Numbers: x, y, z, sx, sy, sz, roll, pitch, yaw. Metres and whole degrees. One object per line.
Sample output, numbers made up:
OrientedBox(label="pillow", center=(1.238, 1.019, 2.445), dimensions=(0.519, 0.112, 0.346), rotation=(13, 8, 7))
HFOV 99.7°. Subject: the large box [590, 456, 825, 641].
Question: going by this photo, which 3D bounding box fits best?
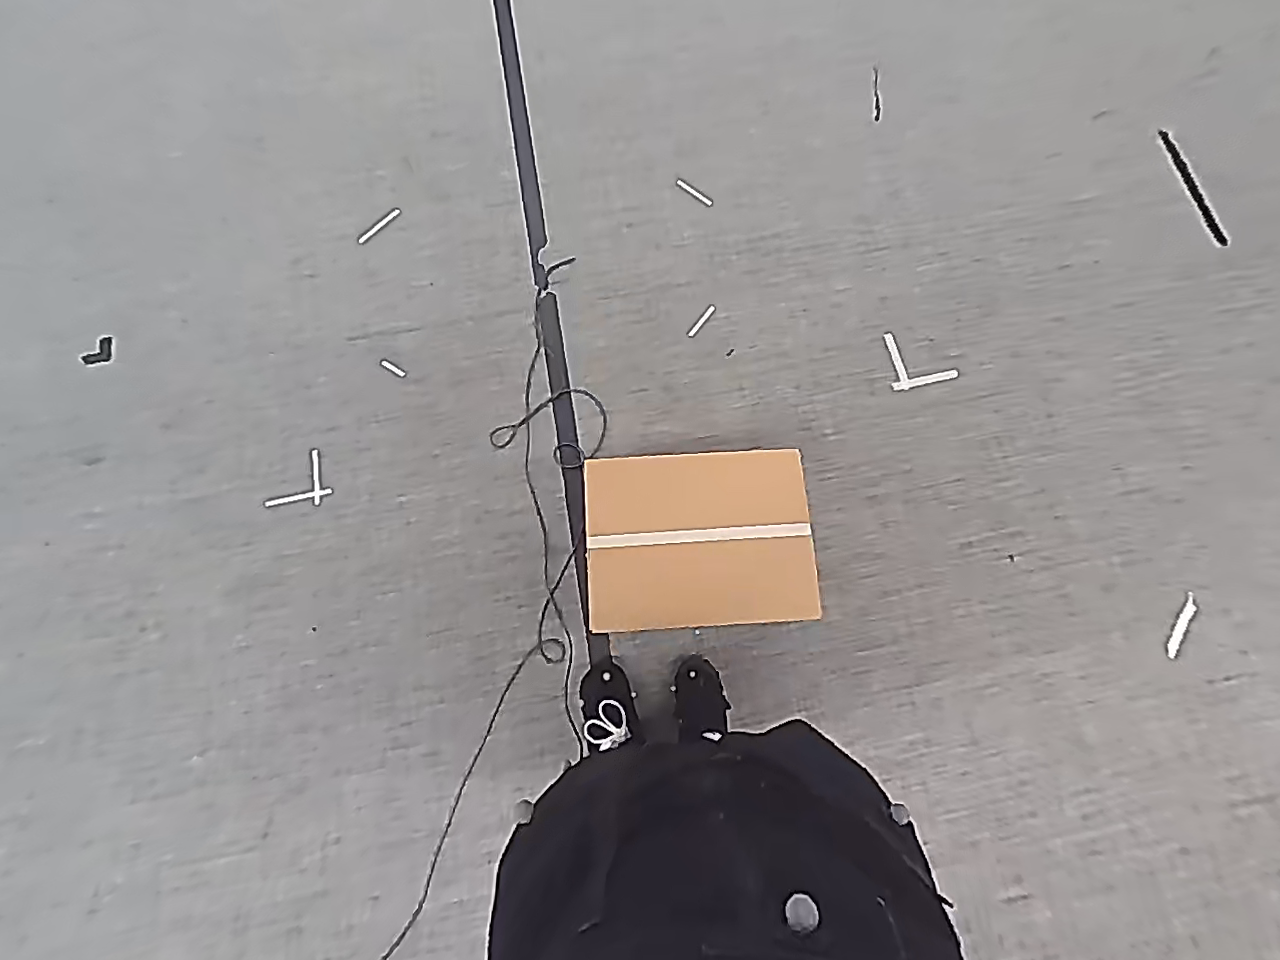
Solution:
OrientedBox(label="large box", center=(0.113, 0.153, 1.115), dimensions=(0.408, 0.320, 0.320), rotation=(-3, 76, -1))
